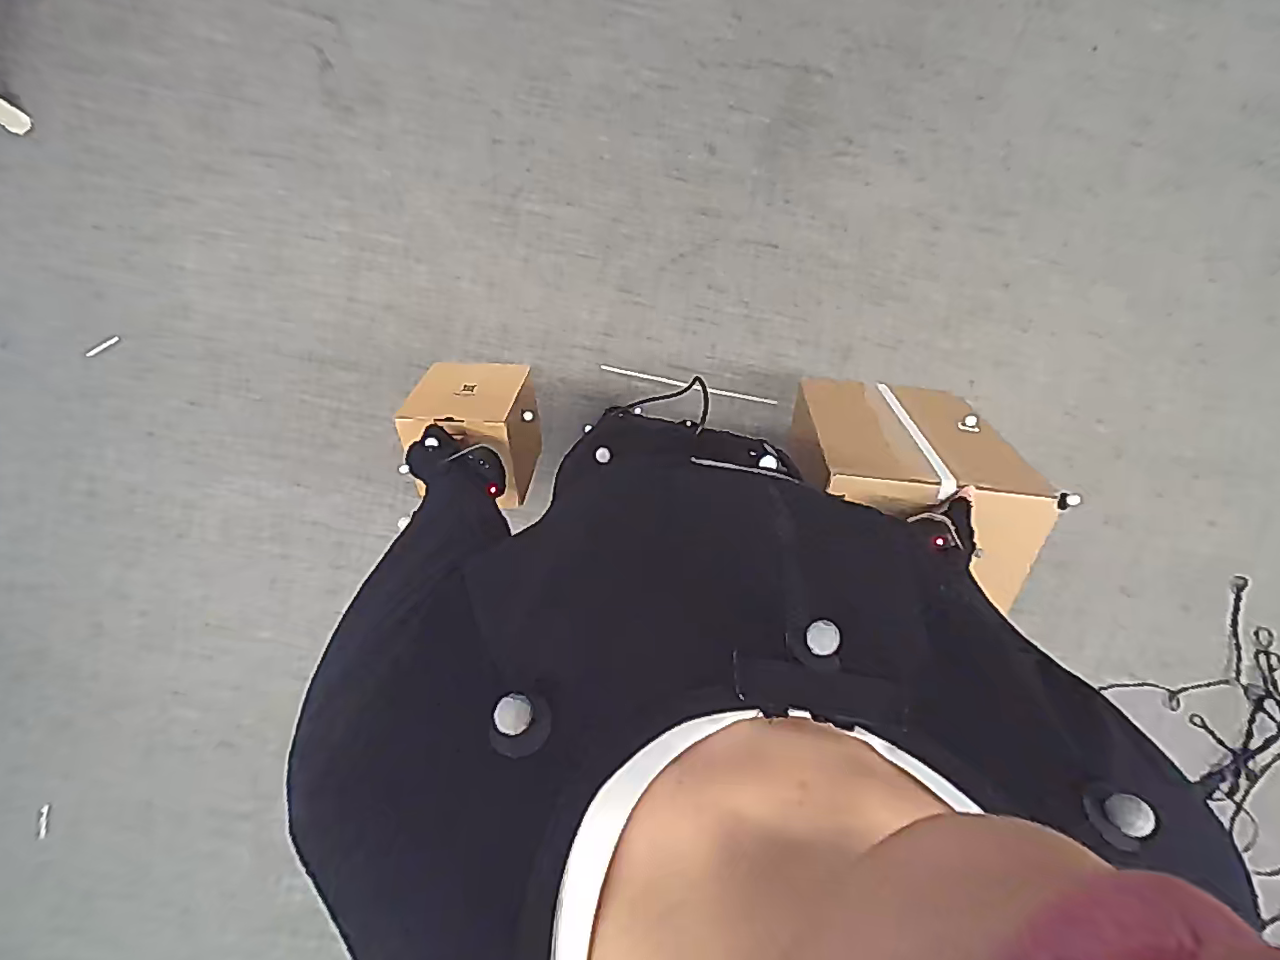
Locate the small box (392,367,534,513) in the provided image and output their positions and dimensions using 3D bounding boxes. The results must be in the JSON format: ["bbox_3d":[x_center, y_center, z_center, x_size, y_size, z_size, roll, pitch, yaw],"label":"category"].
[{"bbox_3d":[-0.275,-0.069,0.891,0.168,0.179,0.176,3,129,3],"label":"small box"}]
